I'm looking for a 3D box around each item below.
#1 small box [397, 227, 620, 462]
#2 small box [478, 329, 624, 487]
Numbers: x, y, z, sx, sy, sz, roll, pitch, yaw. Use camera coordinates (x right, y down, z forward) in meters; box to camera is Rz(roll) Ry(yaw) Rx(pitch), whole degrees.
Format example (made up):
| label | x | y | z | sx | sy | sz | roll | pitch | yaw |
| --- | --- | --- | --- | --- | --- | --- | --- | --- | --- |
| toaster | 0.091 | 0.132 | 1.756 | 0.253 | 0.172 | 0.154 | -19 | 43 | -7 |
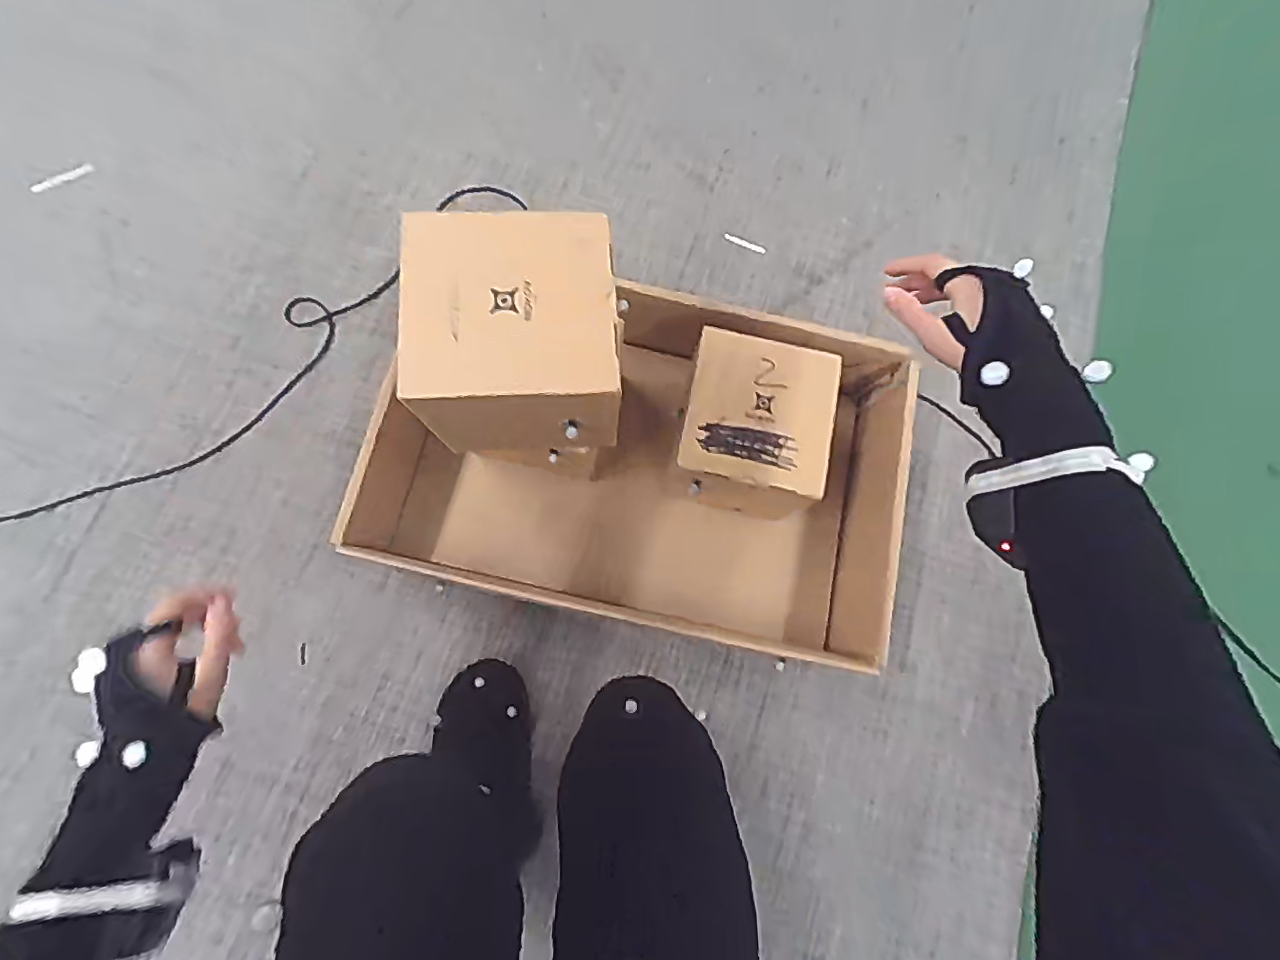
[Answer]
| label | x | y | z | sx | sy | sz | roll | pitch | yaw |
| --- | --- | --- | --- | --- | --- | --- | --- | --- | --- |
| small box | -0.112 | -0.117 | 0.522 | 0.179 | 0.176 | 0.168 | -2 | 78 | -4 |
| small box | -0.127 | -0.099 | 0.684 | 0.179 | 0.176 | 0.168 | 14 | 77 | -1 |
